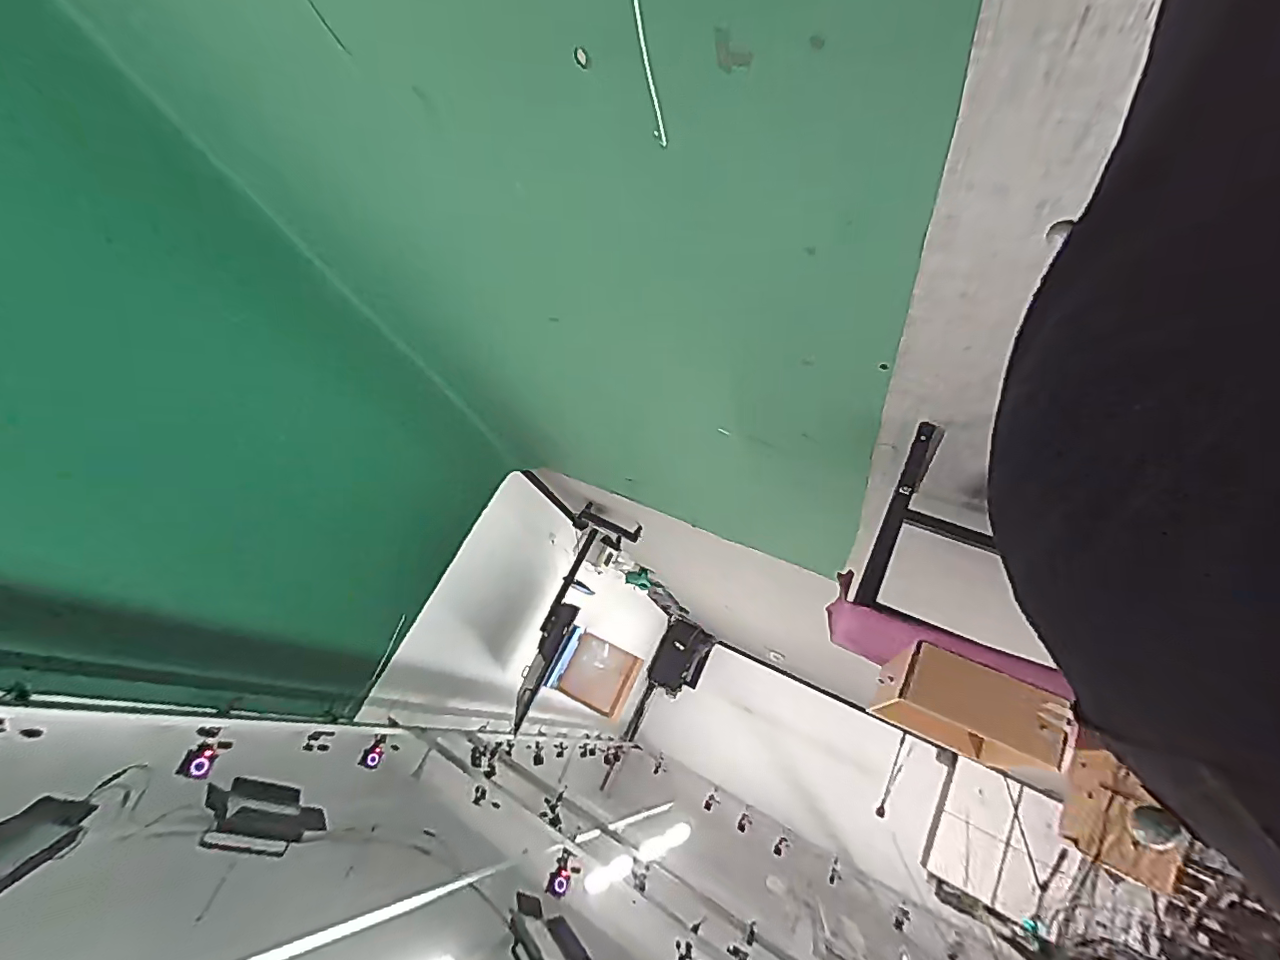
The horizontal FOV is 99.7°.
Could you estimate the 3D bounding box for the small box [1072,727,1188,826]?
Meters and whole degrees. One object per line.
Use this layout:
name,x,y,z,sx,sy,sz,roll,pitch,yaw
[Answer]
small box,1.288,0.771,1.424,0.168,0.176,0.179,22,163,23

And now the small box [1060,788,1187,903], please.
small box,1.217,0.907,1.366,0.179,0.176,0.168,21,163,23
